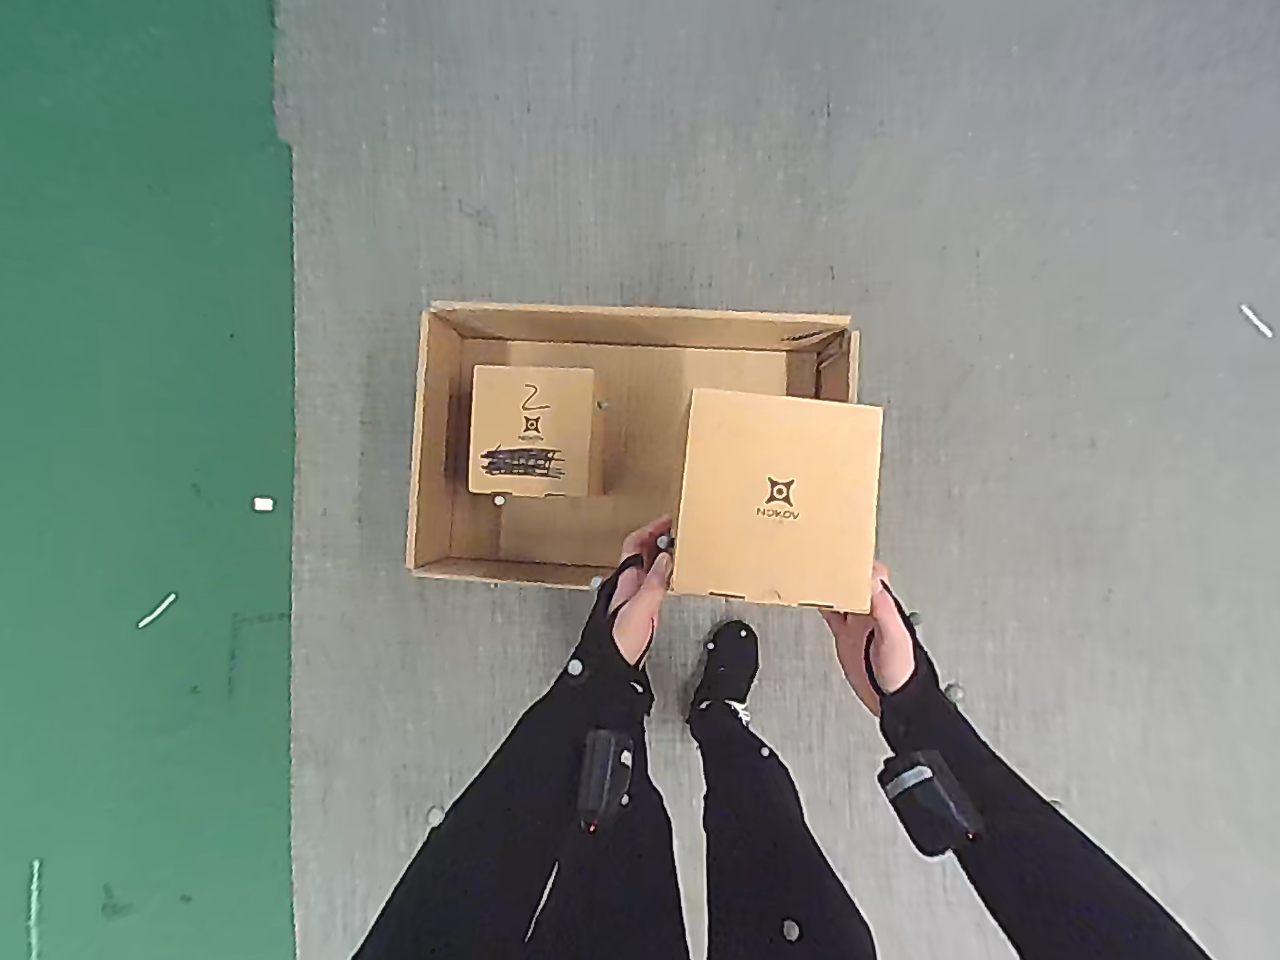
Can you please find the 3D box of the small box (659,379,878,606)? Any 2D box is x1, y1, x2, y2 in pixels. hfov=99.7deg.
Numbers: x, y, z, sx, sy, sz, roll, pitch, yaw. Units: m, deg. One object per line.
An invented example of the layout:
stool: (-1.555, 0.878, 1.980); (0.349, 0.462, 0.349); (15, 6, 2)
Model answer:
small box: (0.110, 0.017, 0.526); (0.168, 0.176, 0.179); (6, 84, 0)
